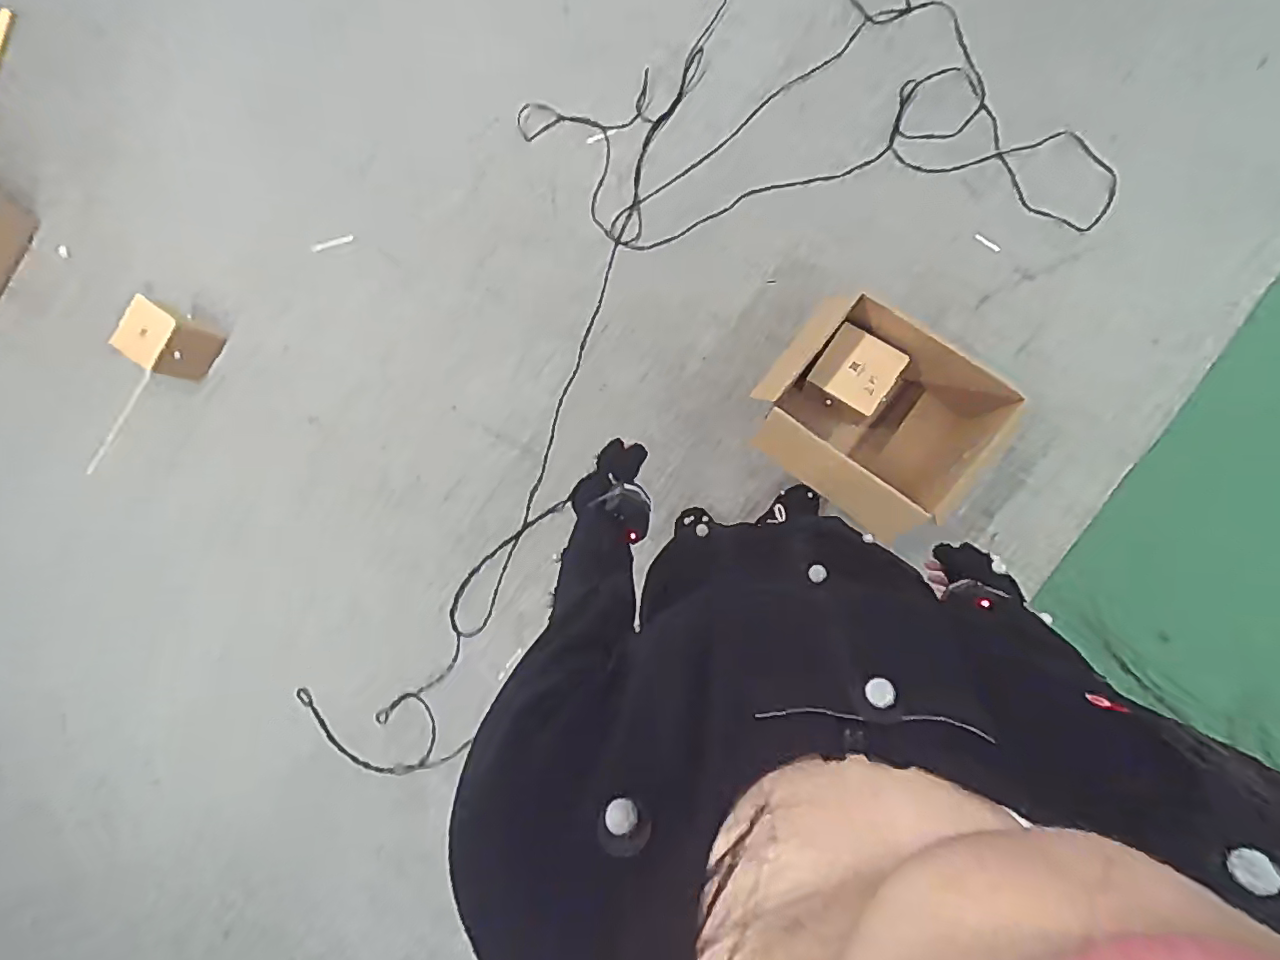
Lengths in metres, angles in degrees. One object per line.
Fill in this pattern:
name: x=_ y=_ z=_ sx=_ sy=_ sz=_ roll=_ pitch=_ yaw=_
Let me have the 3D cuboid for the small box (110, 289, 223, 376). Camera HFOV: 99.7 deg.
small box: x=-1.424 y=-0.440 z=1.640 sx=0.168 sy=0.176 sz=0.179 roll=35 pitch=95 yaw=6
